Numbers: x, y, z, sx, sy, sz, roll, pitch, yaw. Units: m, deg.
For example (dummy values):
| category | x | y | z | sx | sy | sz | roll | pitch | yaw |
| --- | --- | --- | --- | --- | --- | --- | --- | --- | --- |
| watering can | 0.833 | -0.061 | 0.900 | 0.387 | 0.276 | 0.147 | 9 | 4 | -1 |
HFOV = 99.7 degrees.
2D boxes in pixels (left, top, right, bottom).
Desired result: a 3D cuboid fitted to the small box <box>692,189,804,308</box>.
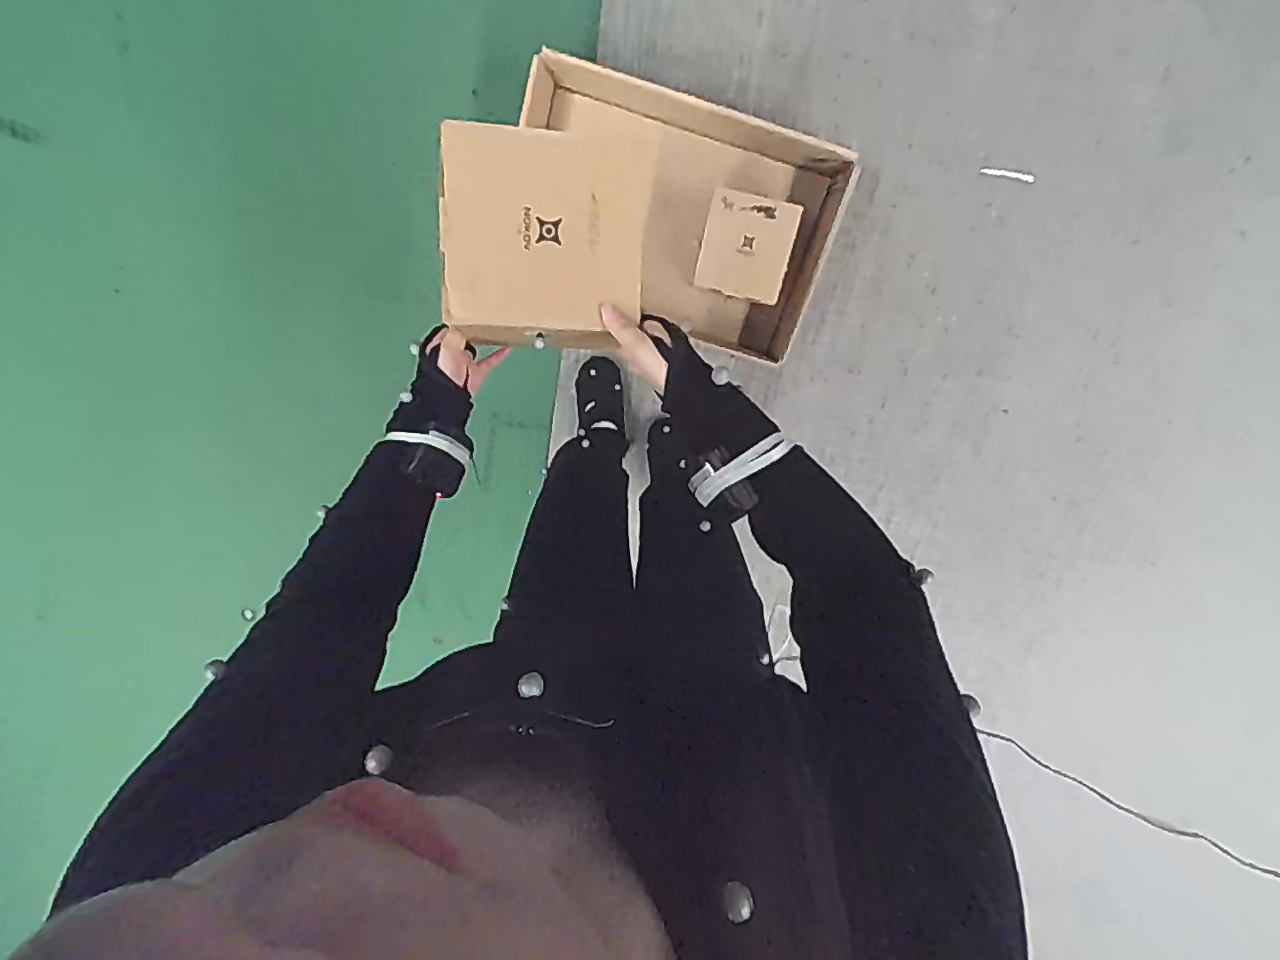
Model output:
| category | x | y | z | sx | sy | sz | roll | pitch | yaw |
| --- | --- | --- | --- | --- | --- | --- | --- | --- | --- |
| small box | 0.205 | -0.449 | 1.069 | 0.168 | 0.176 | 0.179 | 14 | 109 | 0 |

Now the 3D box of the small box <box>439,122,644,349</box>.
| category | x | y | z | sx | sy | sz | roll | pitch | yaw |
| --- | --- | --- | --- | --- | --- | --- | --- | --- | --- |
| small box | -0.096 | -0.231 | 0.558 | 0.179 | 0.176 | 0.168 | 2 | 97 | -8 |
